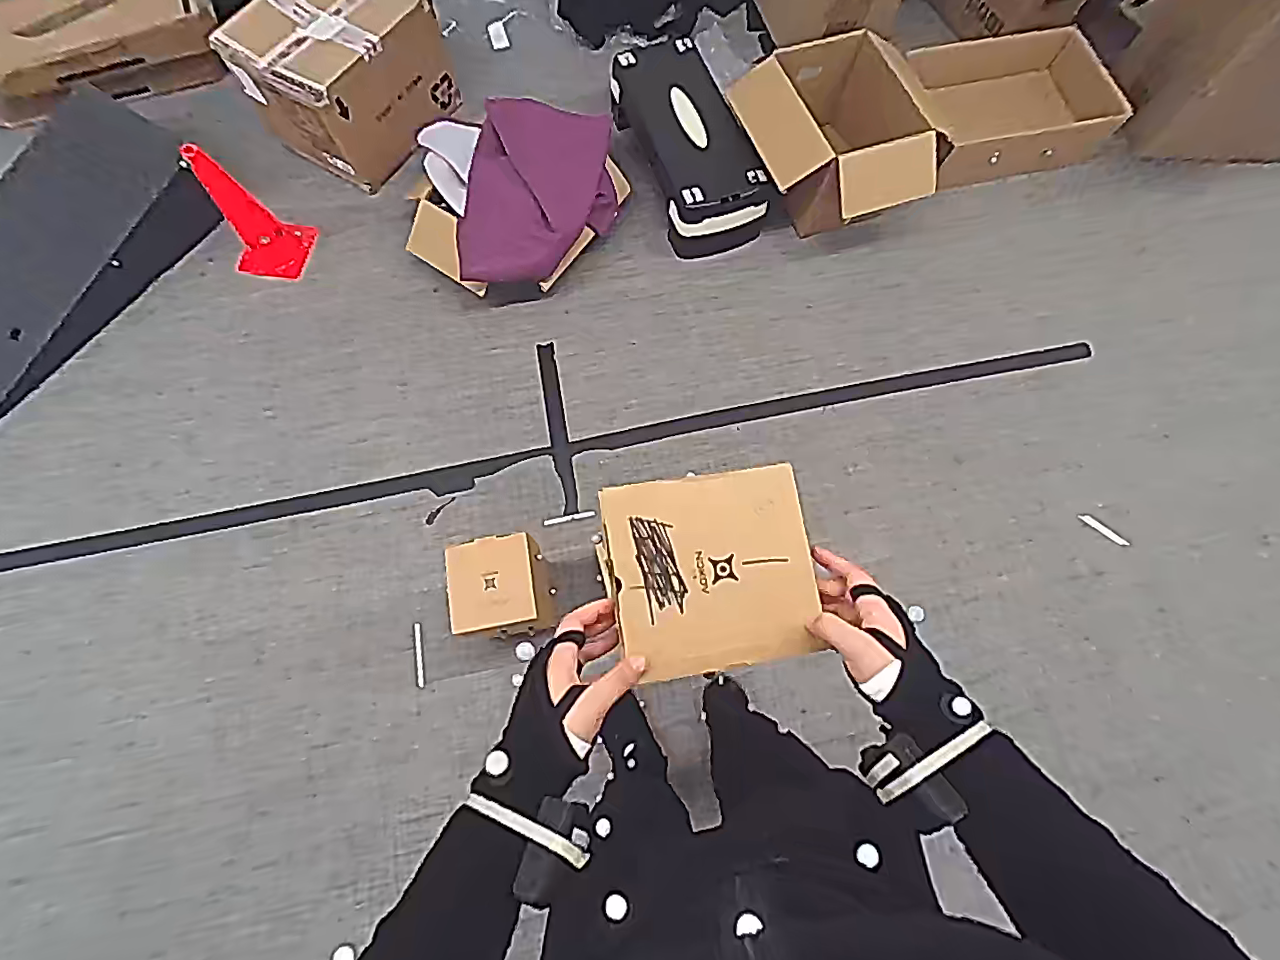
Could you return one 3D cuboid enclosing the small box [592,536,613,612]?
[{"bbox_3d":[-0.014,0.220,1.323,0.168,0.176,0.179,-14,74,-5],"label":"small box"}]

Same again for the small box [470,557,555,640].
[{"bbox_3d":[-0.303,0.286,1.293,0.179,0.176,0.168,-9,72,-4],"label":"small box"}]

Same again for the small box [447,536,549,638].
[{"bbox_3d":[-0.294,0.230,1.140,0.168,0.176,0.179,-11,74,-3],"label":"small box"}]

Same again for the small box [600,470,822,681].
[{"bbox_3d":[0.056,0.094,0.549,0.179,0.176,0.168,-7,81,-6],"label":"small box"}]
